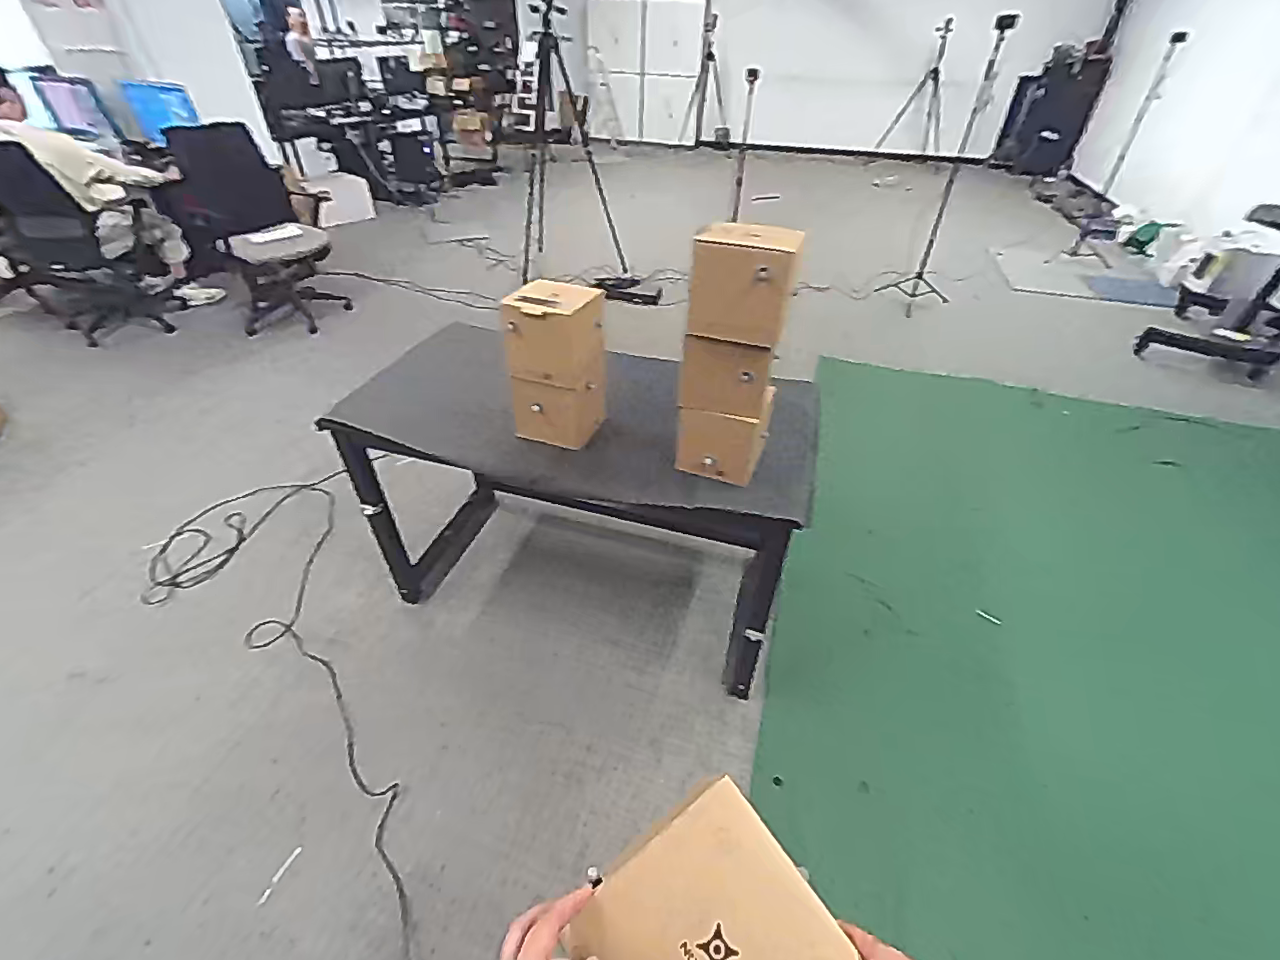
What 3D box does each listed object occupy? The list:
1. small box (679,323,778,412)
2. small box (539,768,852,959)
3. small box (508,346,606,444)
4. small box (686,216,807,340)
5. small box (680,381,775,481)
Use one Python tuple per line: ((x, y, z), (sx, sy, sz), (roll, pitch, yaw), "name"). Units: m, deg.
((0.185, -0.255, 1.115), (0.179, 0.176, 0.168), (9, 37, 13), "small box")
((0.039, 0.376, 0.464), (0.179, 0.176, 0.168), (-34, 66, -16), "small box")
((-0.192, -0.205, 1.307), (0.179, 0.176, 0.168), (13, 40, 15), "small box")
((0.193, -0.372, 0.995), (0.179, 0.176, 0.168), (13, 38, 16), "small box")
((0.192, -0.125, 1.211), (0.168, 0.176, 0.179), (15, 40, 18), "small box")
